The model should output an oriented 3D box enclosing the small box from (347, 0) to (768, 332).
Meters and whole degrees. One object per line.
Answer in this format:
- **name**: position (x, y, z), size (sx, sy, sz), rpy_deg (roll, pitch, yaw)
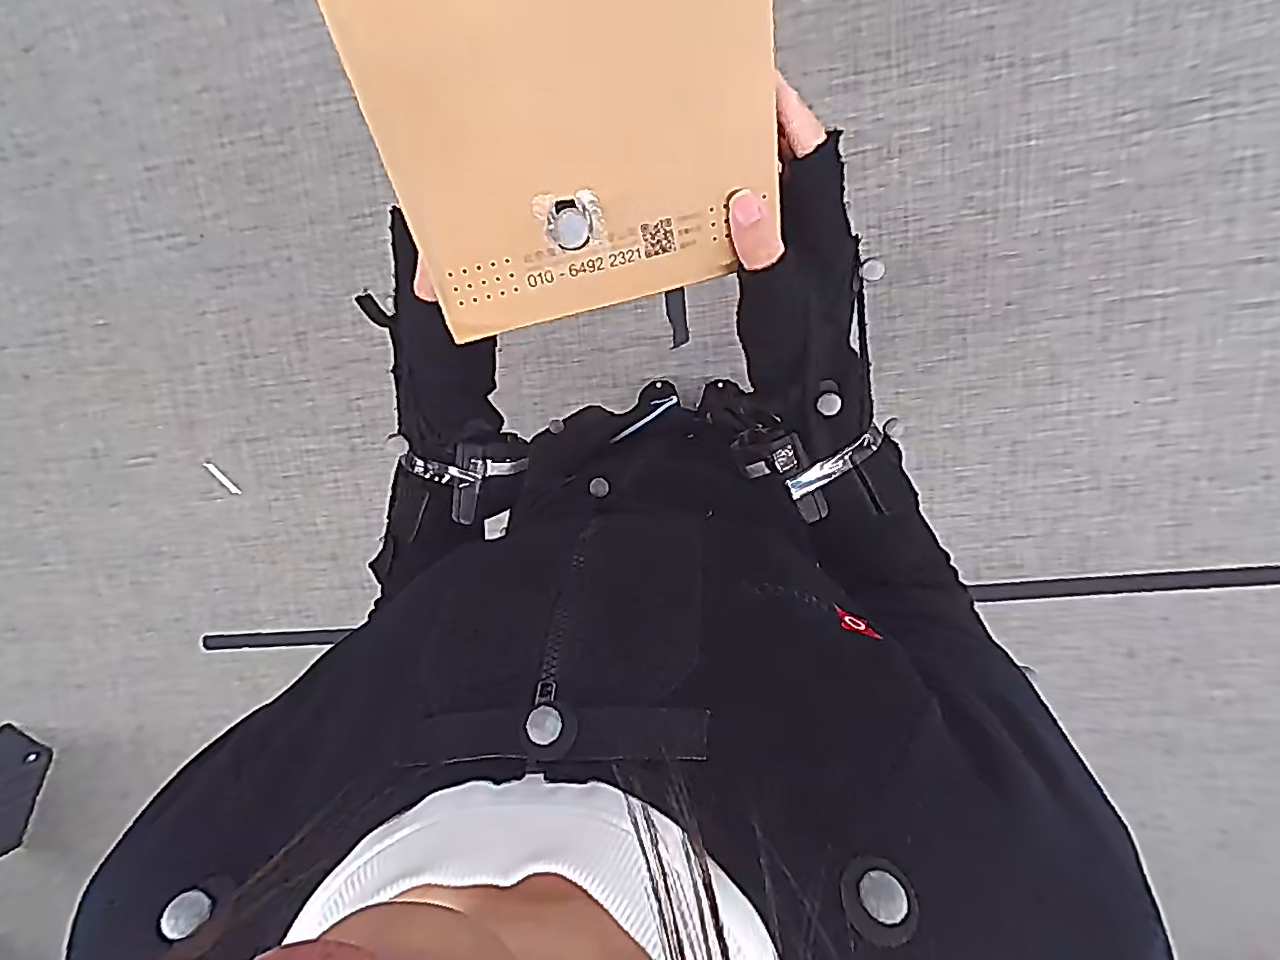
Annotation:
- **small box**: position (-0.040, -0.200, 0.299), size (0.168, 0.179, 0.176), rpy_deg (-16, 125, -4)
